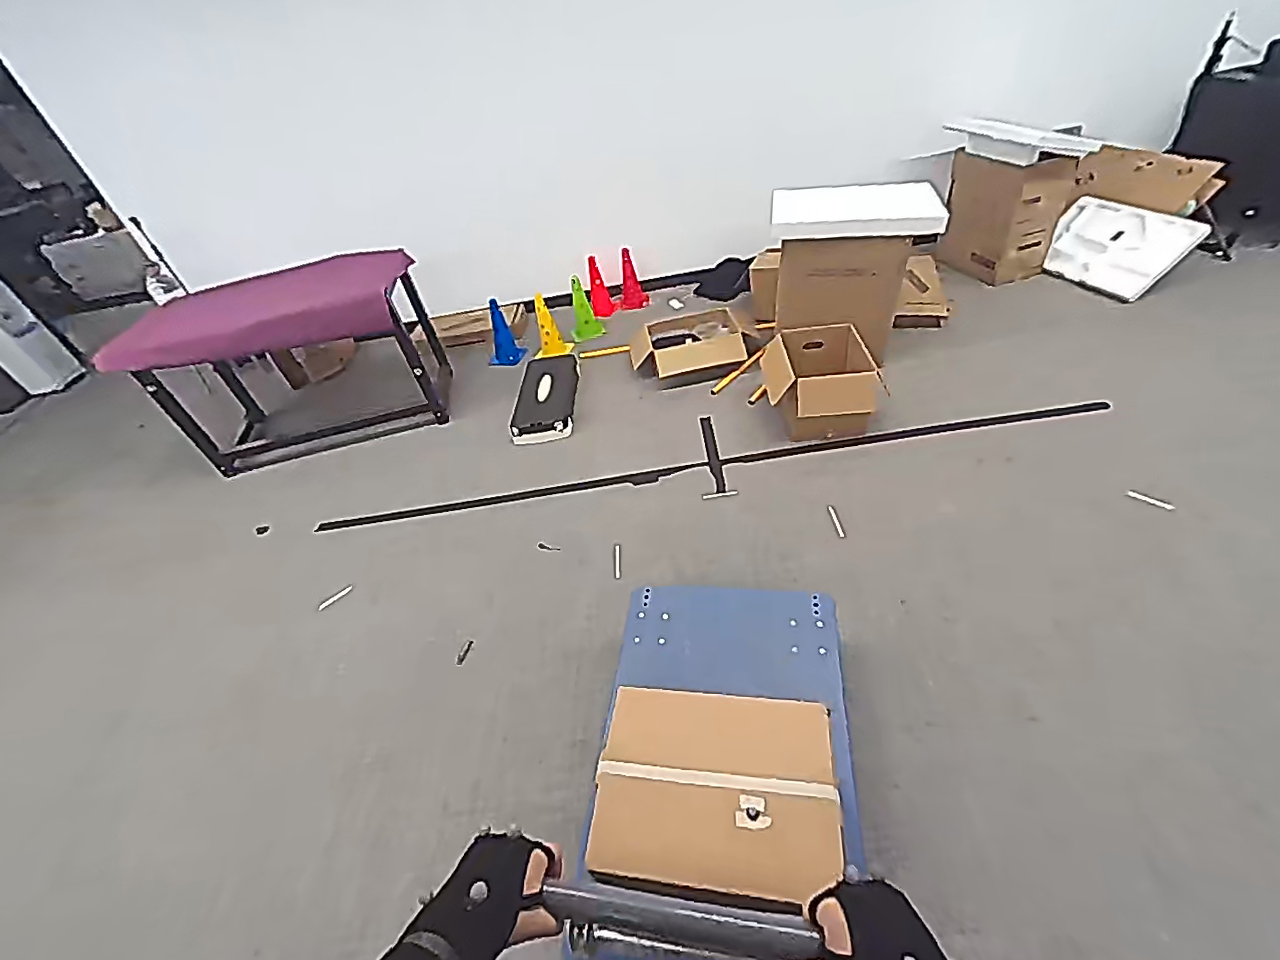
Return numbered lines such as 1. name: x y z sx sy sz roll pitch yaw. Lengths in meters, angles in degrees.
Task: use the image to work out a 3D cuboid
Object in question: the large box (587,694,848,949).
1. large box: 0.146 0.635 1.022 0.408 0.320 0.320 0 43 12
